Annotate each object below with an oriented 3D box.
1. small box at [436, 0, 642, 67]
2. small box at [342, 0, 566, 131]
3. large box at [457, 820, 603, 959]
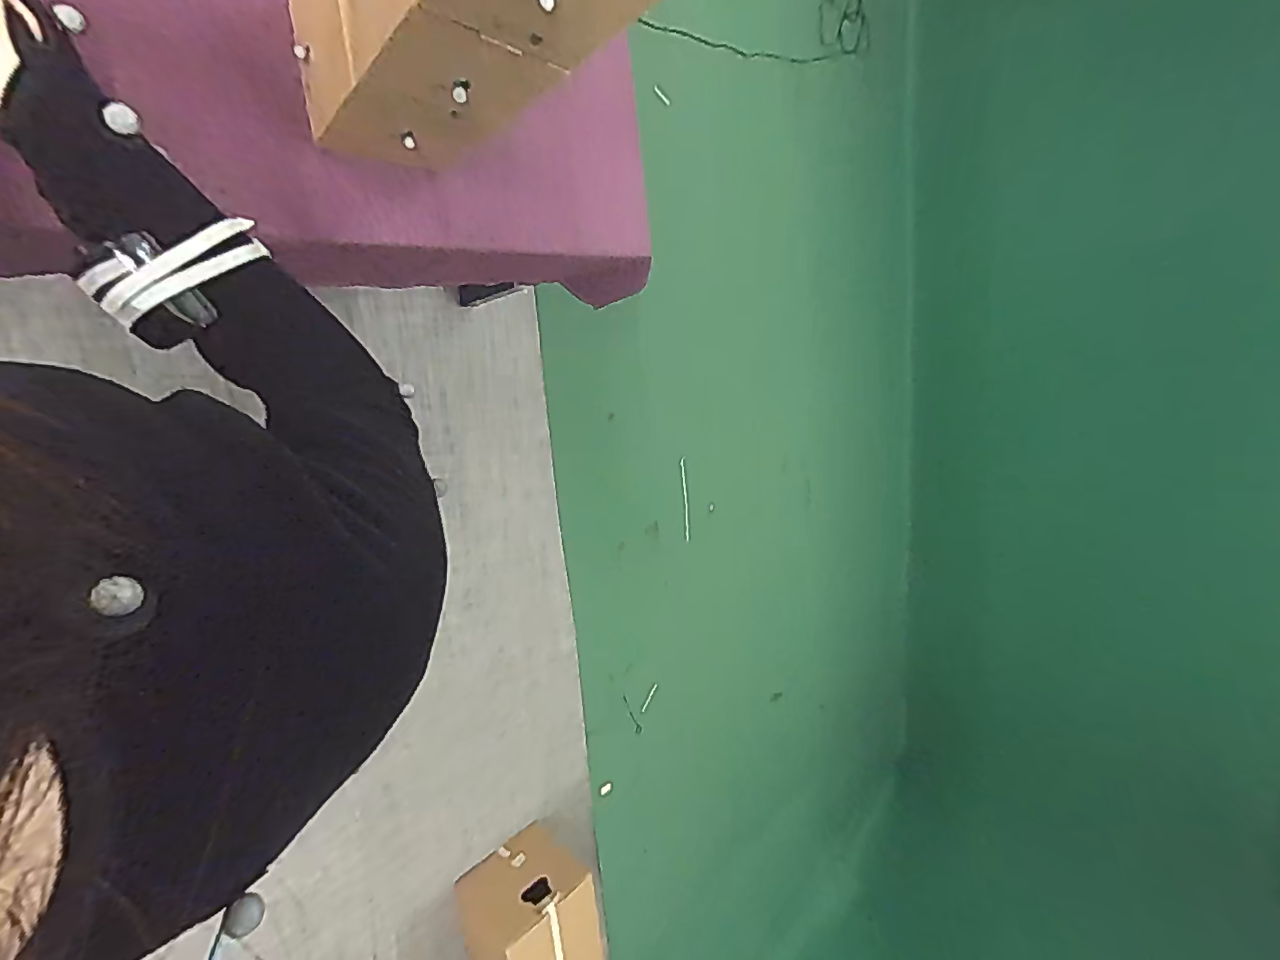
[{"bbox_3d":[-0.082,-0.486,0.436,0.168,0.176,0.179,-13,102,-42],"label":"small box"},{"bbox_3d":[-0.195,-0.498,0.556,0.168,0.176,0.179,-11,102,-43],"label":"small box"},{"bbox_3d":[-0.350,1.429,1.743,0.320,0.320,0.408,-17,107,-42],"label":"large box"}]
